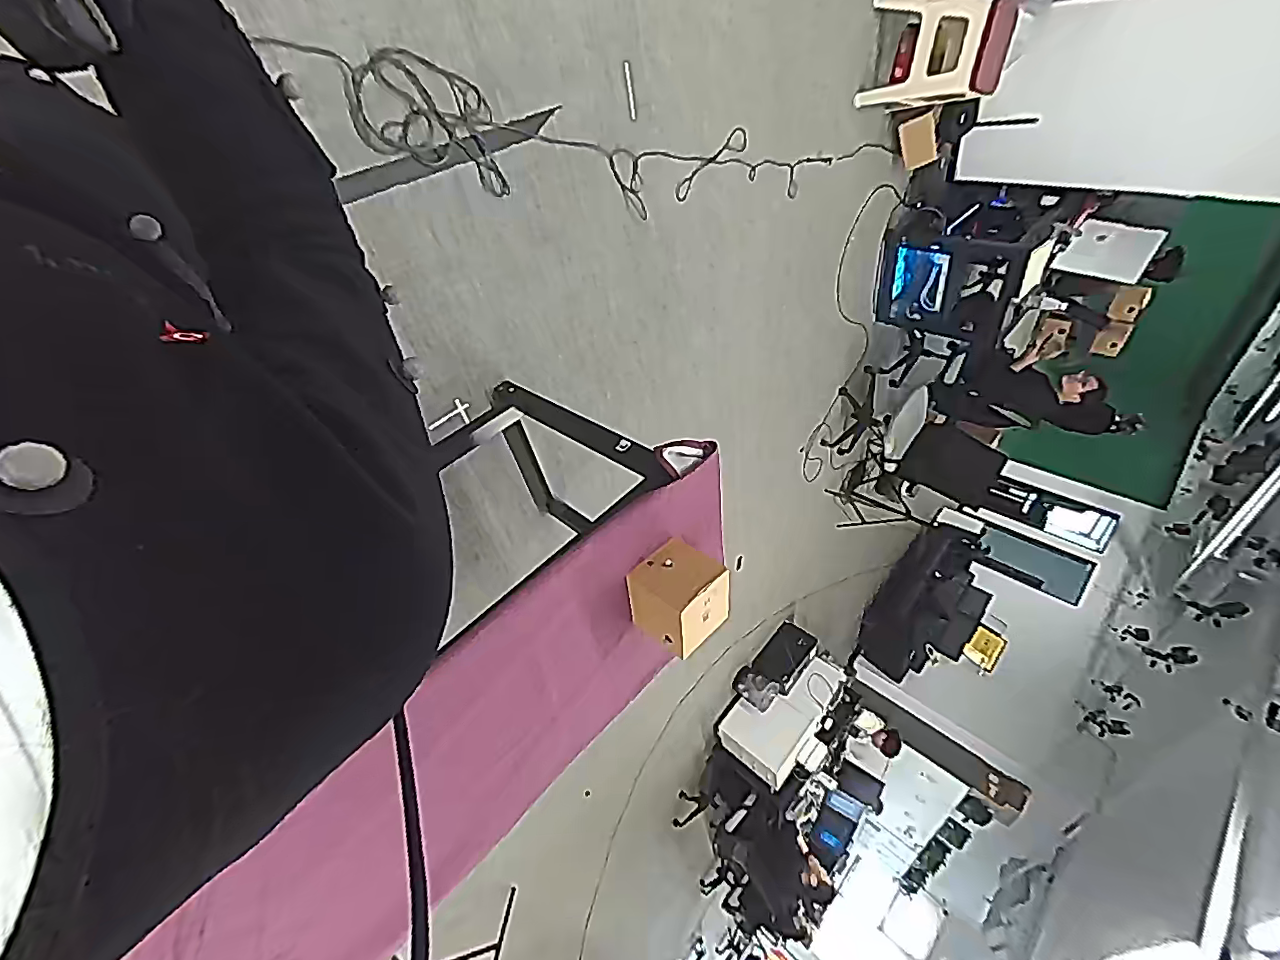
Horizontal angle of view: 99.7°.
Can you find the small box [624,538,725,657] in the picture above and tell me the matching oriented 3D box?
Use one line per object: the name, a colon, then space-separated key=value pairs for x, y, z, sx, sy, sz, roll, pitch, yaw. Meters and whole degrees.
small box: x=0.081 y=0.269 z=1.266 sx=0.168 sy=0.176 sz=0.179 roll=-35 pitch=135 yaw=-33
